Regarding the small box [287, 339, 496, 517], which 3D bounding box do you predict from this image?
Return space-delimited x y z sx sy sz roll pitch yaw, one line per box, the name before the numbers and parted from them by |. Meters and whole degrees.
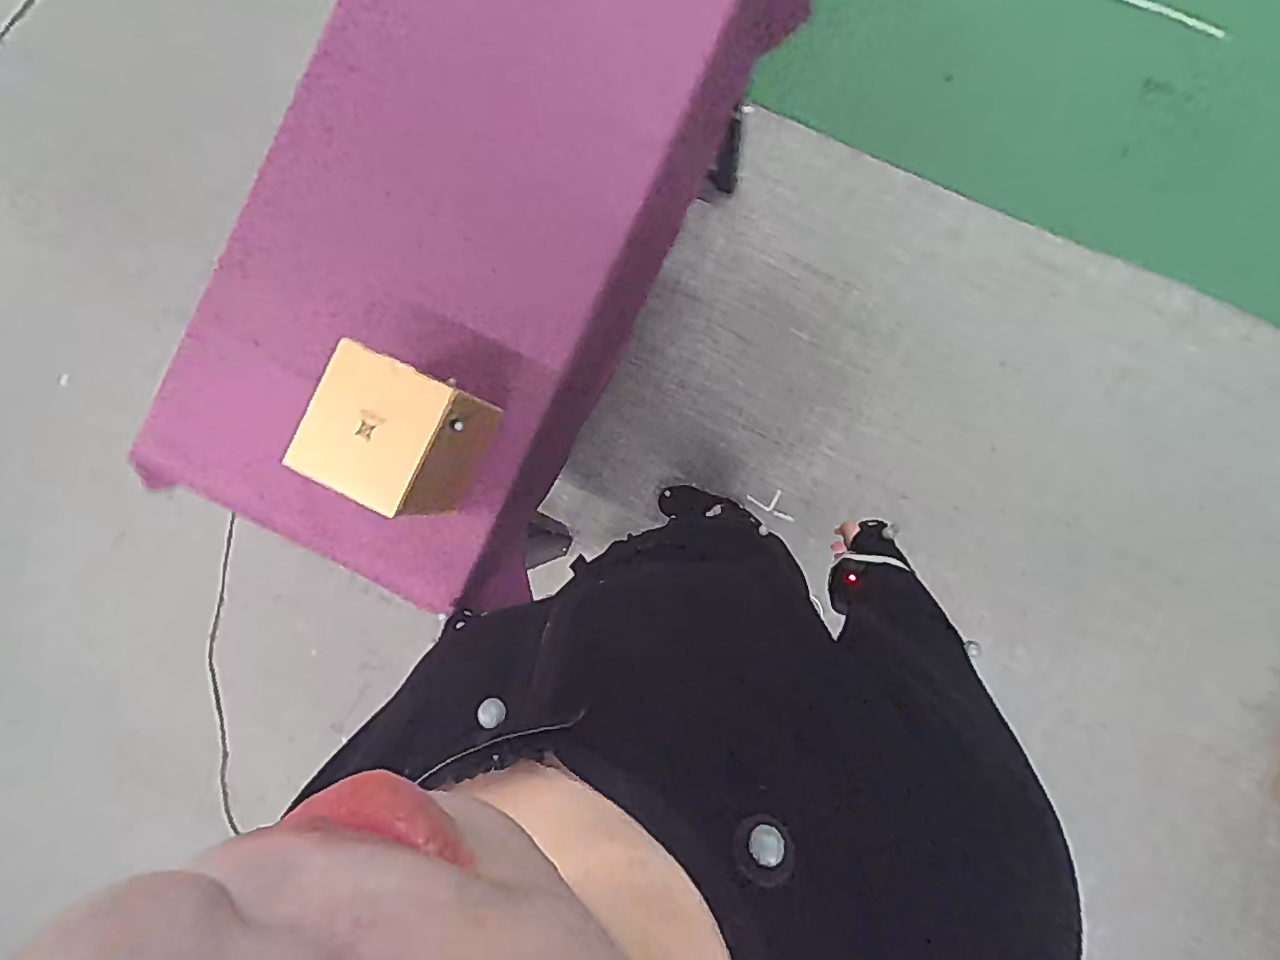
small box | -0.323 -0.060 0.741 0.168 0.176 0.179 25 89 7
